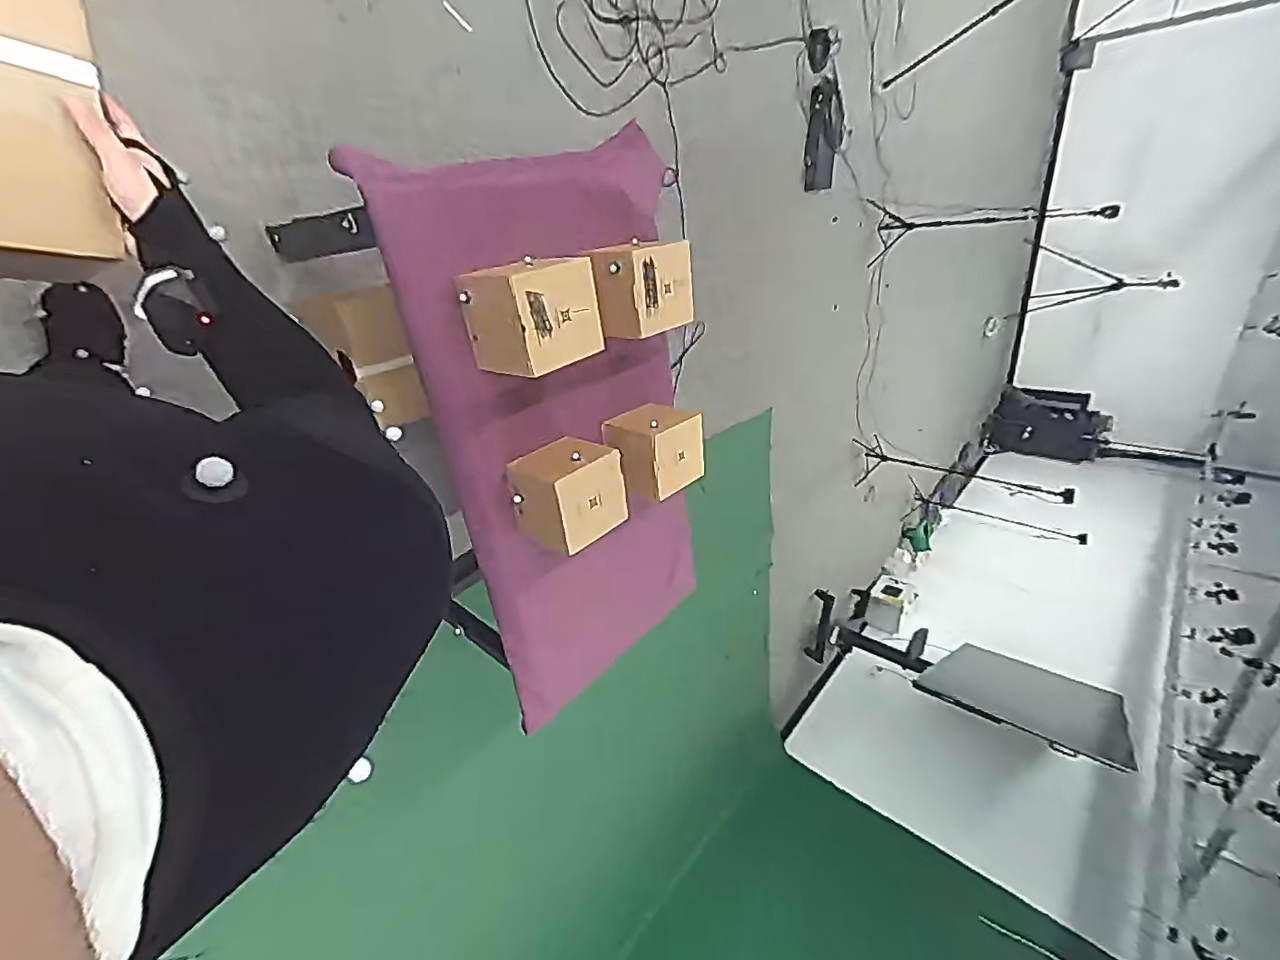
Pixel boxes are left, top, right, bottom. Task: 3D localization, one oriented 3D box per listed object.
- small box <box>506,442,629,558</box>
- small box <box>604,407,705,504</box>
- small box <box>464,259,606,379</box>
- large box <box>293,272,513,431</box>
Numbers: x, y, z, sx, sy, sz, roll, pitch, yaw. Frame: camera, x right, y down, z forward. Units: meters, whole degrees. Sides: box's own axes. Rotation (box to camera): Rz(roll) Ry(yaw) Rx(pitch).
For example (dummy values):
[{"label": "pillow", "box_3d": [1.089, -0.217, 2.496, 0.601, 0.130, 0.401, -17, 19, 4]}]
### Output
[{"label": "small box", "box_3d": [-0.148, 0.031, 1.126, 0.179, 0.176, 0.168, -30, 124, -40]}, {"label": "small box", "box_3d": [0.037, -0.067, 1.303, 0.179, 0.176, 0.168, -28, 124, -38]}, {"label": "small box", "box_3d": [-0.190, -0.289, 0.961, 0.179, 0.176, 0.168, -33, 127, -39]}, {"label": "large box", "box_3d": [-0.628, -0.365, 1.469, 0.408, 0.320, 0.320, -32, 126, -39]}]
